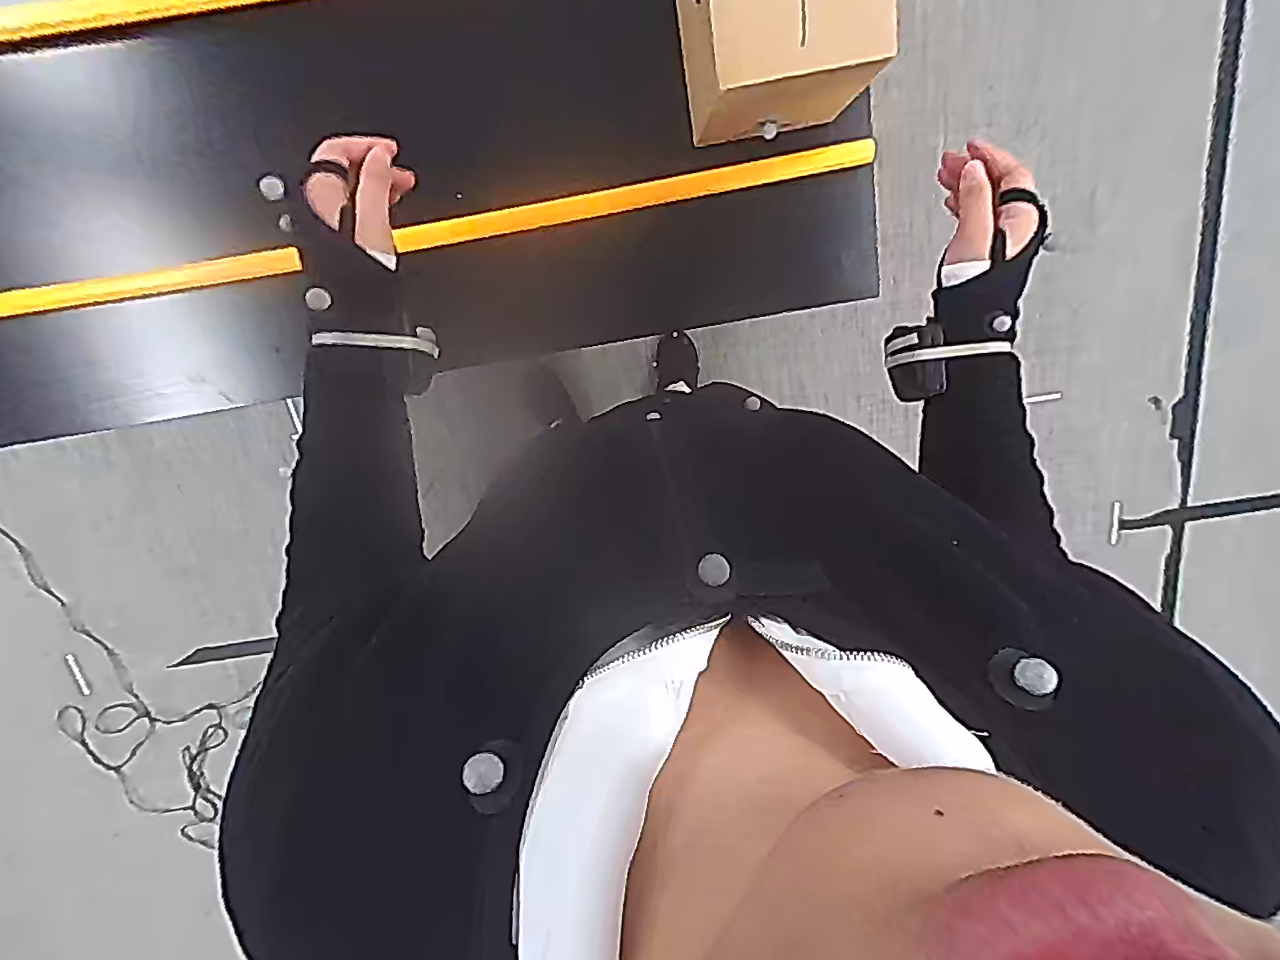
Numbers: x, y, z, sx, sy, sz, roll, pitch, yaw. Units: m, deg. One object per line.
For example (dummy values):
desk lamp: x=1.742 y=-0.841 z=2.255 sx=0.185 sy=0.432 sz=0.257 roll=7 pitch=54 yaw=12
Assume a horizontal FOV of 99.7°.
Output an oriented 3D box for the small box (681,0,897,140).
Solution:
small box: x=0.137 y=-0.478 z=0.546 sx=0.168 sy=0.176 sz=0.179 roll=-10 pitch=107 yaw=1
